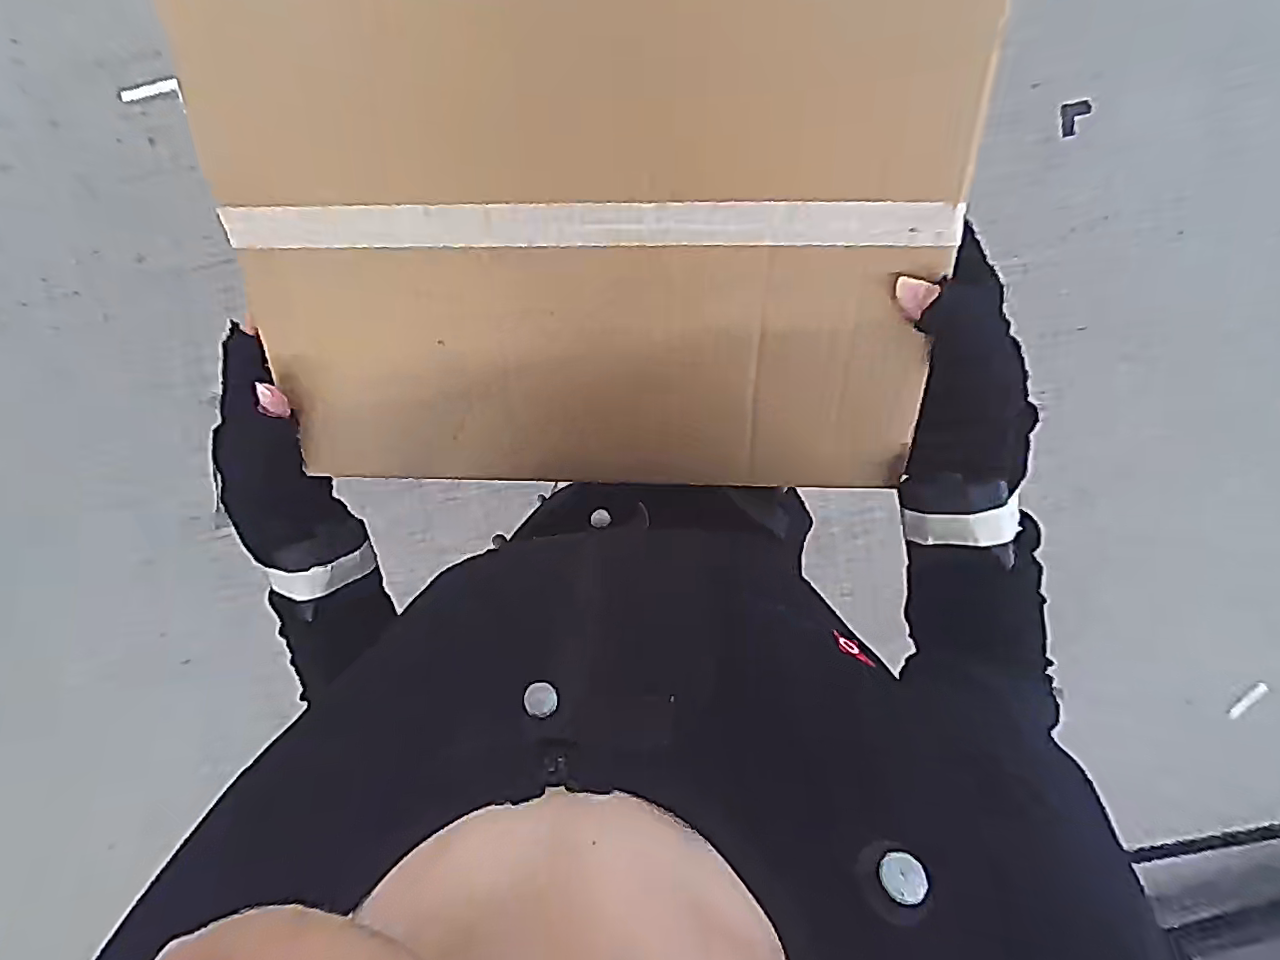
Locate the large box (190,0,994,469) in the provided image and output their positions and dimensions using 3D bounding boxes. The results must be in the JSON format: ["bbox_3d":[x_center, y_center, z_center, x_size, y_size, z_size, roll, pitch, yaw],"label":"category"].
[{"bbox_3d":[-0.023,-0.212,0.441,0.408,0.320,0.320,1,117,2],"label":"large box"}]
